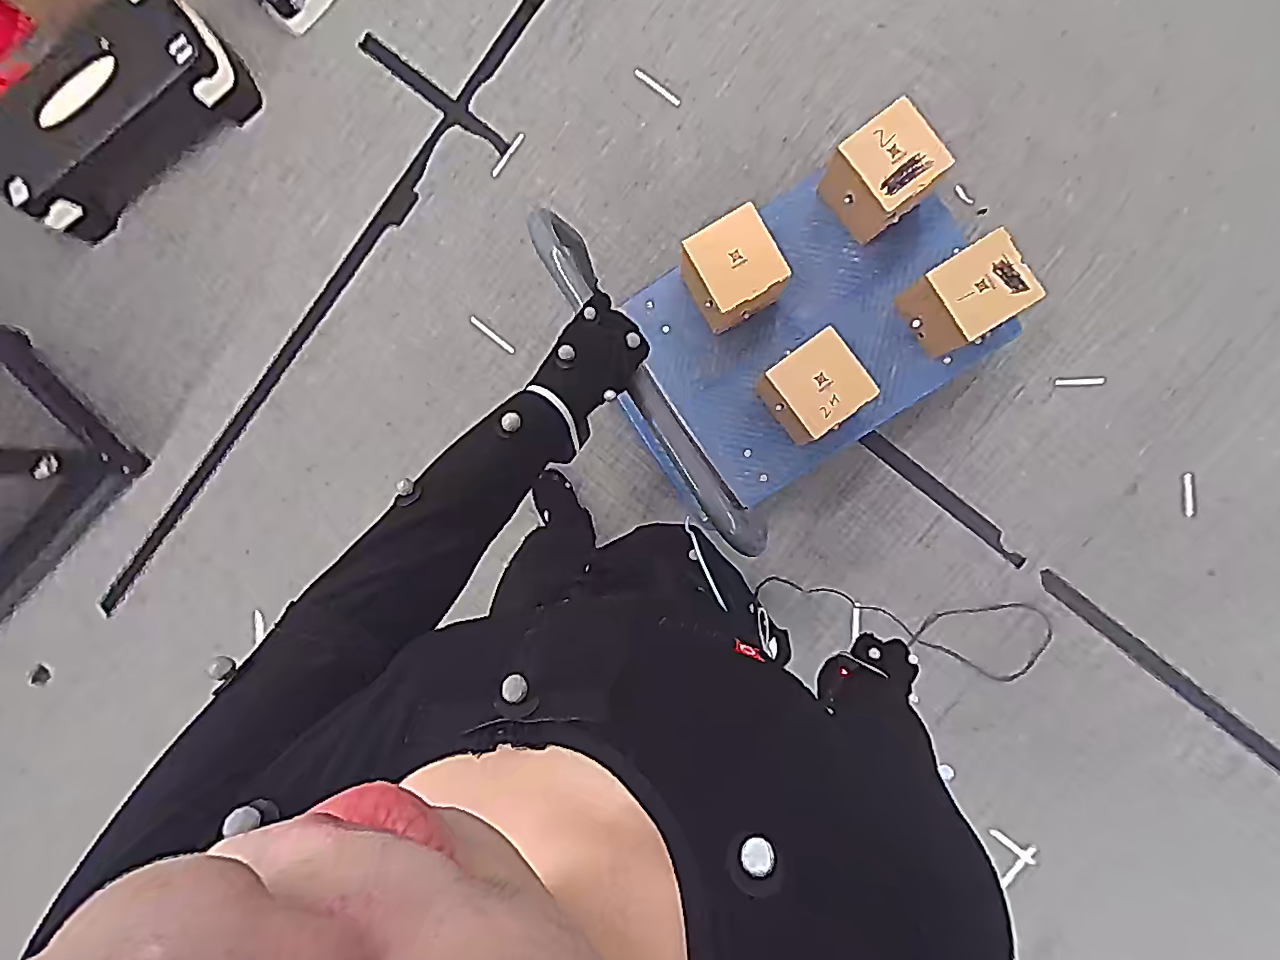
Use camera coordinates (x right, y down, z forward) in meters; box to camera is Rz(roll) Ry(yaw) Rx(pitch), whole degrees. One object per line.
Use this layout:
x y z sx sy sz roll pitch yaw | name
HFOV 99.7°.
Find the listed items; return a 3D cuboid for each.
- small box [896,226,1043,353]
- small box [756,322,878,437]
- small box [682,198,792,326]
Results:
0.692 -0.397 1.158 0.179 0.176 0.168 -31 89 5 | small box
0.374 -0.208 1.180 0.168 0.176 0.179 -35 89 4 | small box
0.202 -0.466 1.185 0.168 0.176 0.179 -30 91 3 | small box
